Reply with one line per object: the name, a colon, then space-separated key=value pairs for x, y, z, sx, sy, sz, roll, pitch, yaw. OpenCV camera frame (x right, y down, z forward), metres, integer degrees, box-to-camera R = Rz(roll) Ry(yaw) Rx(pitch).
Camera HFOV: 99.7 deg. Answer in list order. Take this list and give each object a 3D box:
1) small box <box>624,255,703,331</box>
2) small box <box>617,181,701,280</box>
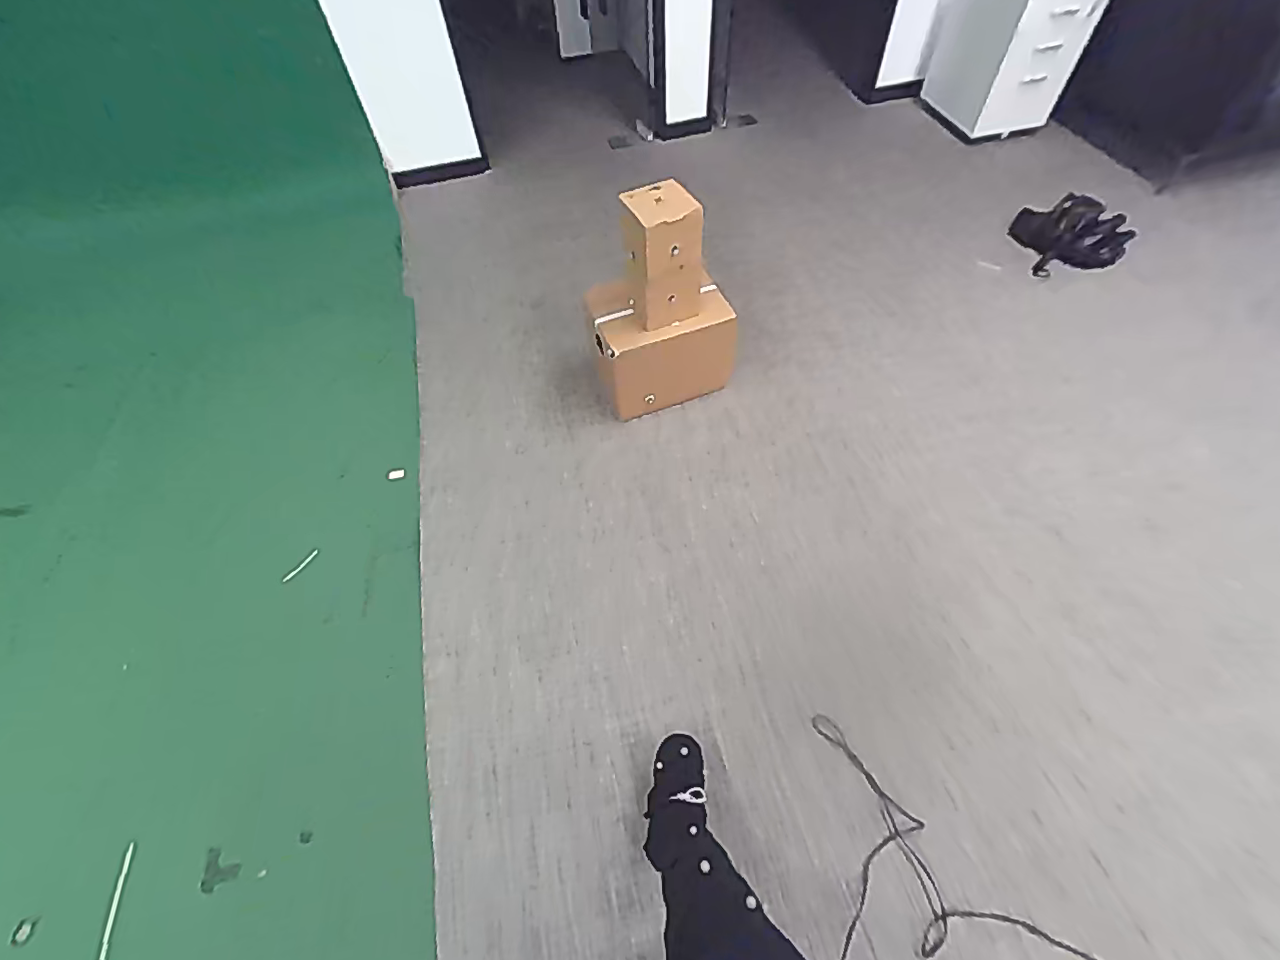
small box: x=0.066 y=-0.571 z=1.591 sx=0.179 sy=0.176 sz=0.168 roll=-23 pitch=58 yaw=-14
small box: x=0.052 y=-0.664 z=1.458 sx=0.168 sy=0.176 sz=0.179 roll=-22 pitch=58 yaw=-11
